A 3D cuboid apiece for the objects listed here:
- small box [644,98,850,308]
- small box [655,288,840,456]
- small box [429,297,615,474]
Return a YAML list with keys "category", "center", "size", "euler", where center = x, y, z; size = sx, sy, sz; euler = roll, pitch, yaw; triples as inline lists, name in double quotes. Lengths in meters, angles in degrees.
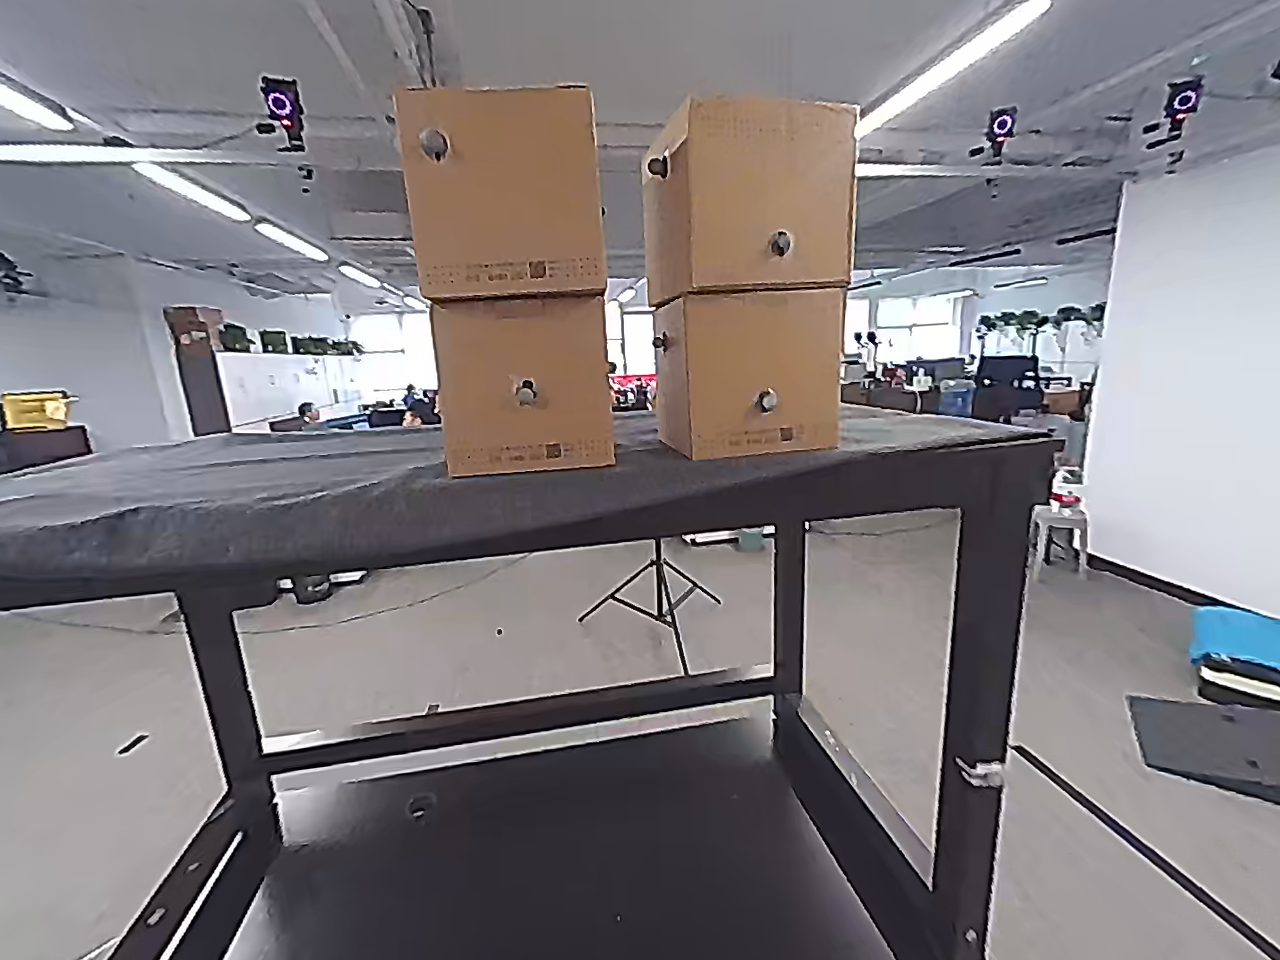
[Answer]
- category: "small box"
  center: [0.109, -0.284, 0.588]
  size: [0.179, 0.176, 0.168]
  euler: [-5, 12, -13]
- category: "small box"
  center: [0.115, -0.124, 0.634]
  size: [0.168, 0.176, 0.179]
  euler: [-6, 12, -8]
- category: "small box"
  center: [-0.119, -0.102, 0.601]
  size: [0.168, 0.176, 0.179]
  euler: [-4, 12, -7]
